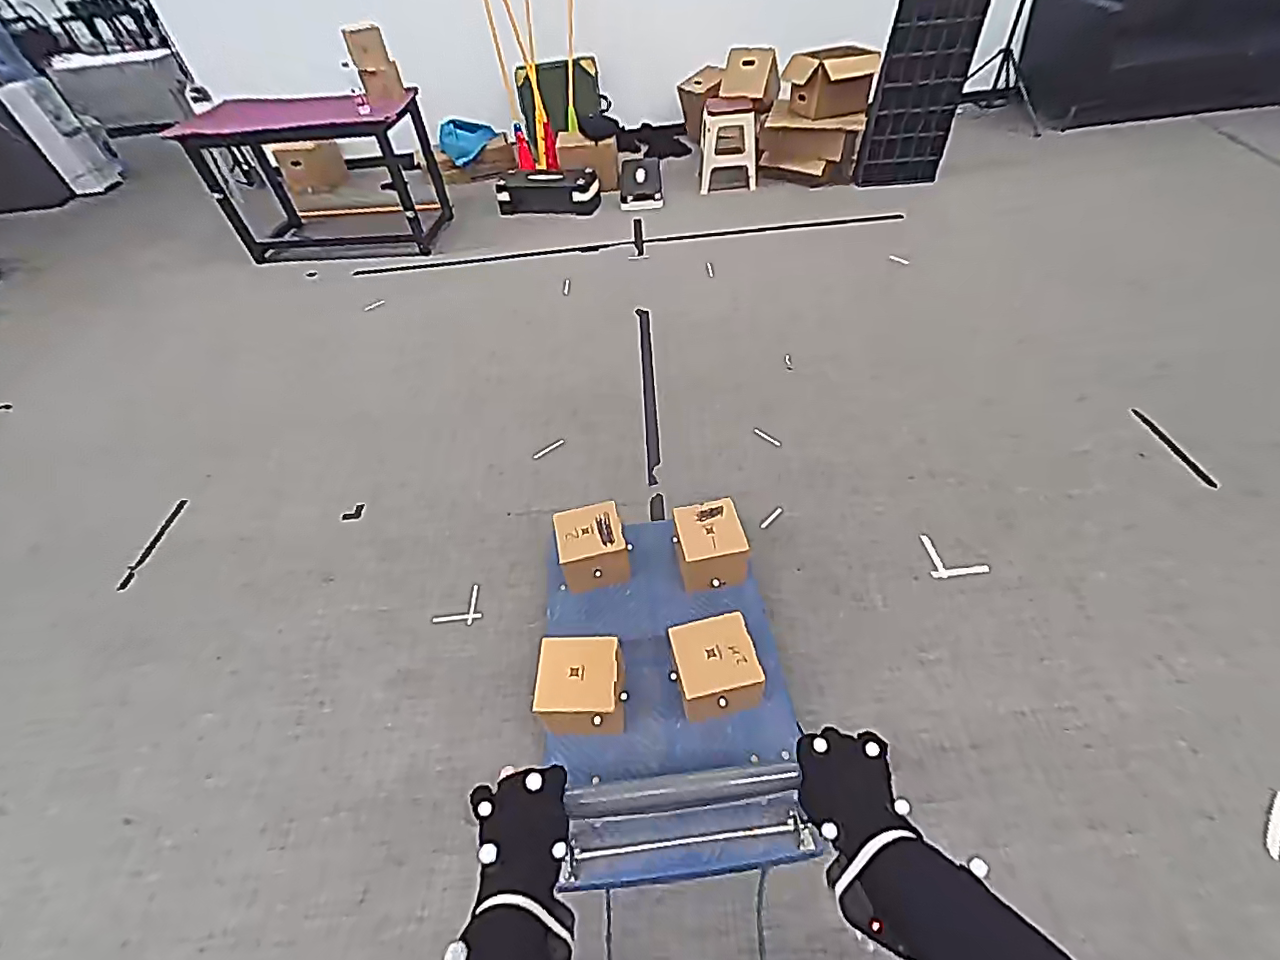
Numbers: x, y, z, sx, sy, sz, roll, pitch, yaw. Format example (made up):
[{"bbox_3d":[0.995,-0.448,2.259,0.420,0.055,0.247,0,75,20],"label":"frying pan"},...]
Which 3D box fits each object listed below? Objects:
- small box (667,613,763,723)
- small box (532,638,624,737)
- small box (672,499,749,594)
[{"bbox_3d":[0.169,0.433,1.236,0.179,0.176,0.168,-13,48,-4],"label":"small box"},{"bbox_3d":[-0.133,0.477,1.235,0.179,0.176,0.168,-2,48,3],"label":"small box"},{"bbox_3d":[0.184,0.180,1.459,0.168,0.176,0.179,-11,49,-3],"label":"small box"}]
